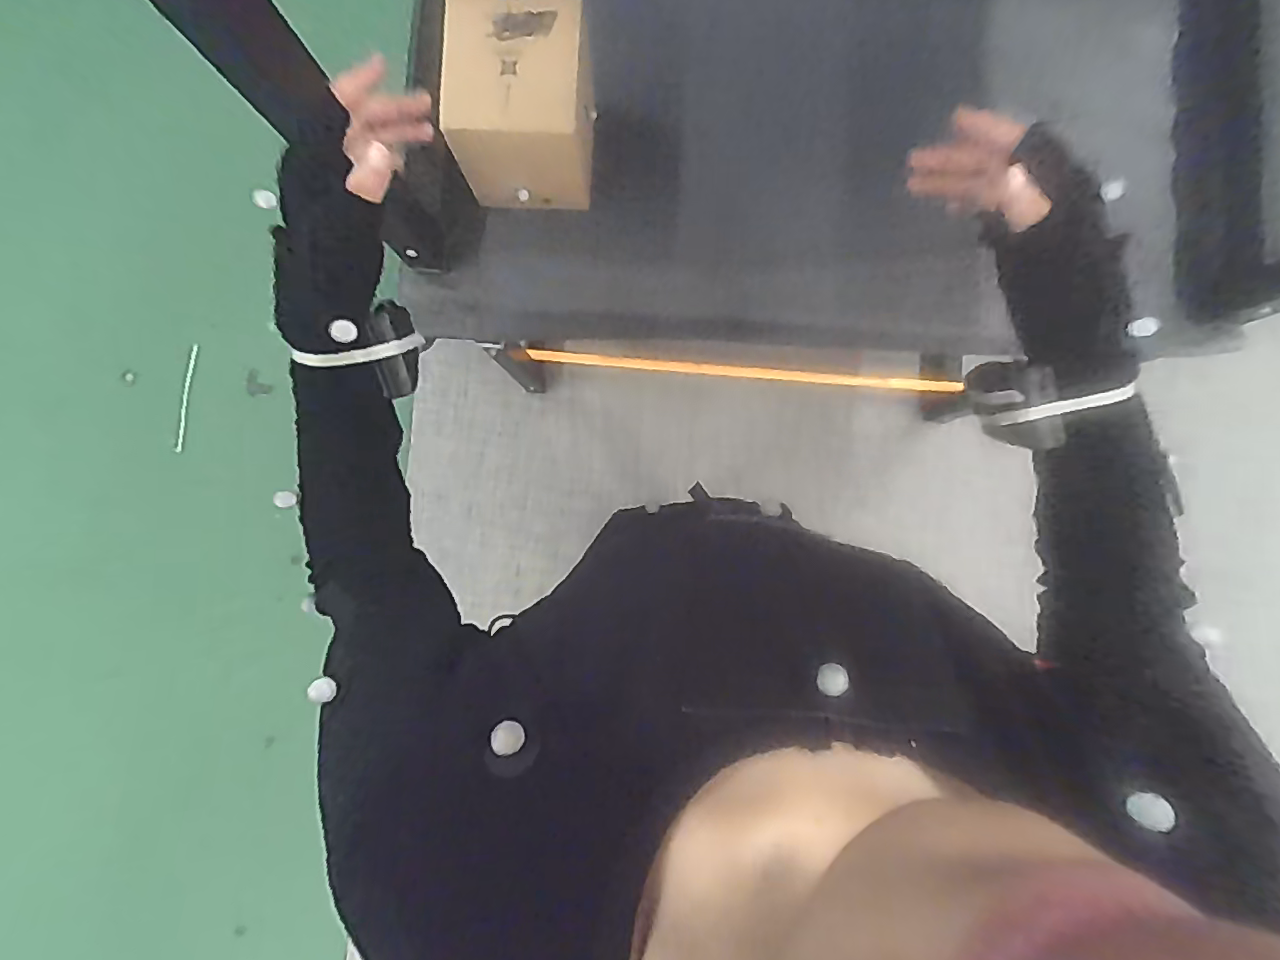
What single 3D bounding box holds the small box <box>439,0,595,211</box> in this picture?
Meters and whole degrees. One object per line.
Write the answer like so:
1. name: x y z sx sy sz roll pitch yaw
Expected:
1. small box: -0.152 -0.493 0.723 0.168 0.176 0.179 2 86 1
